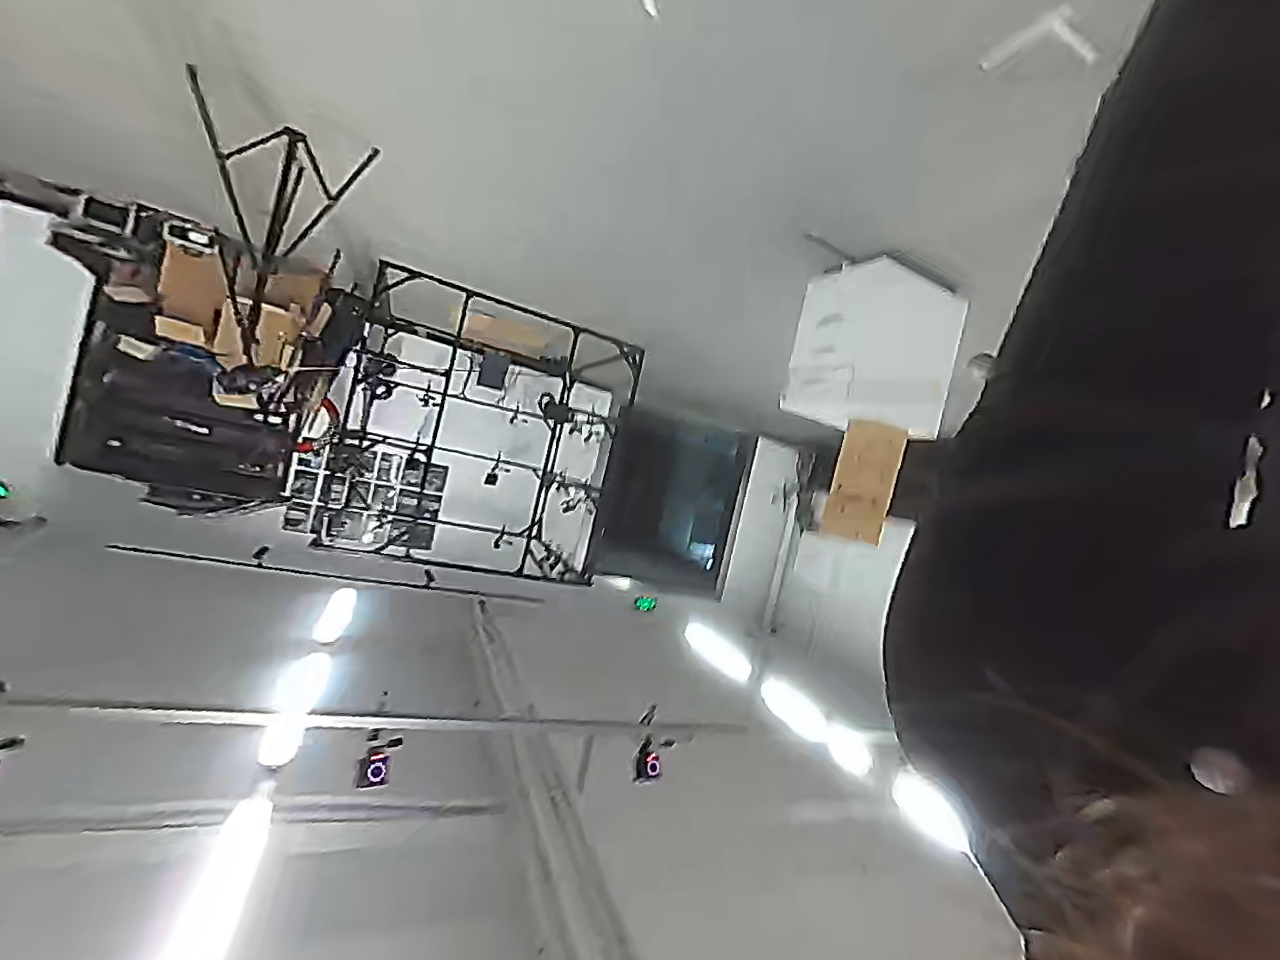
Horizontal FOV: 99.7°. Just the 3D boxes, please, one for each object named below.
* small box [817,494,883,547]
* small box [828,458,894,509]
[{"bbox_3d":[0.871,0.166,2.235,0.179,0.176,0.168,13,-178,-27],"label":"small box"},{"bbox_3d":[0.917,0.009,2.237,0.168,0.176,0.179,12,-178,-28],"label":"small box"}]
